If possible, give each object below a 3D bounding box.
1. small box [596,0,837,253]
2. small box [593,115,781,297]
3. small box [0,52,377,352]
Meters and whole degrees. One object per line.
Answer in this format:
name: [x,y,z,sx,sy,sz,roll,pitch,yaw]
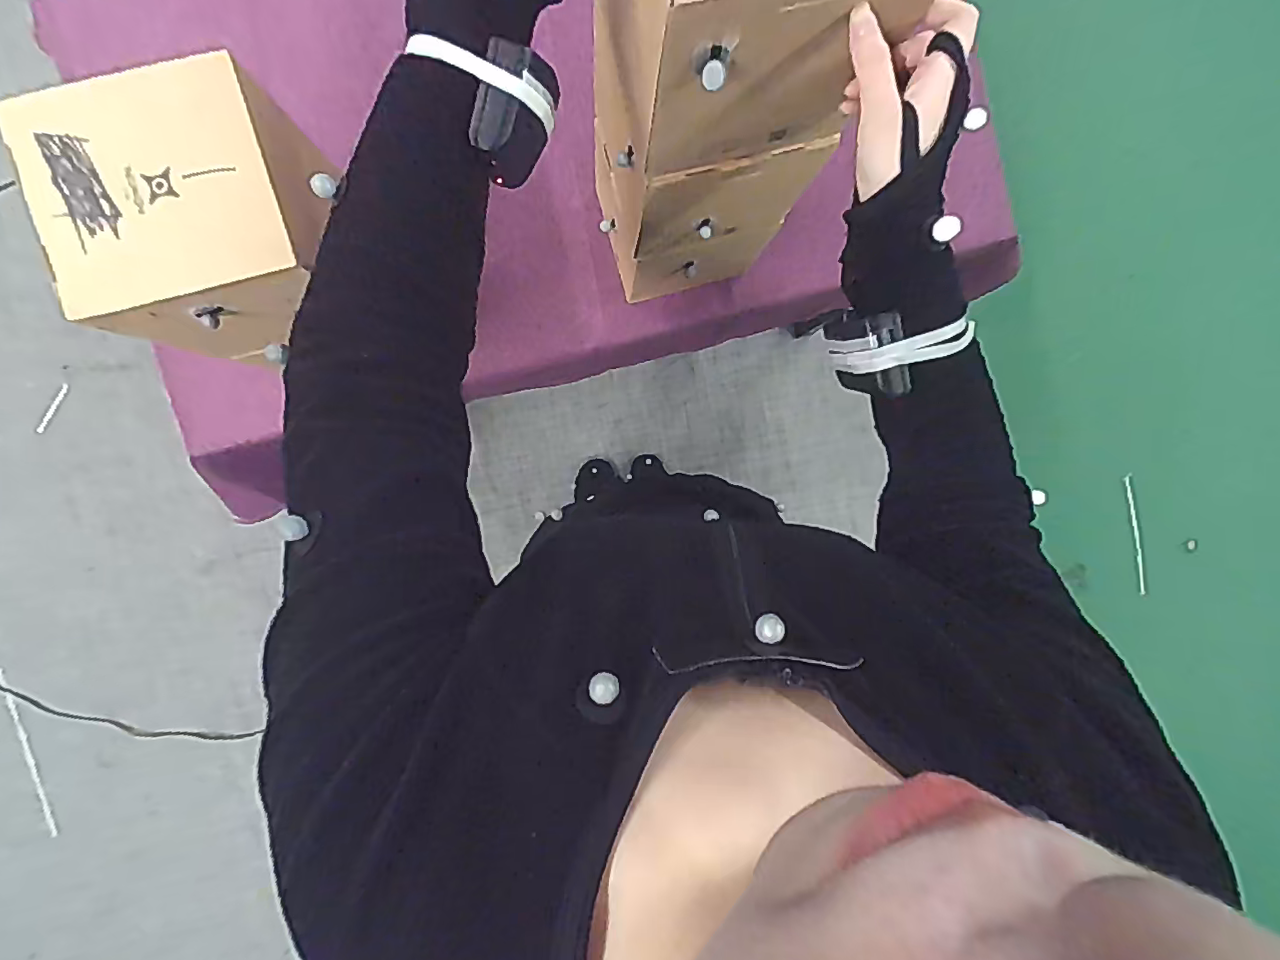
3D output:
small box: [0.056,-0.345,0.510,0.168,0.176,0.179,-15,94,-3]
small box: [0.050,-0.347,0.674,0.179,0.176,0.168,-17,94,-2]
small box: [-0.374,-0.226,0.486,0.179,0.176,0.168,-16,94,-4]
